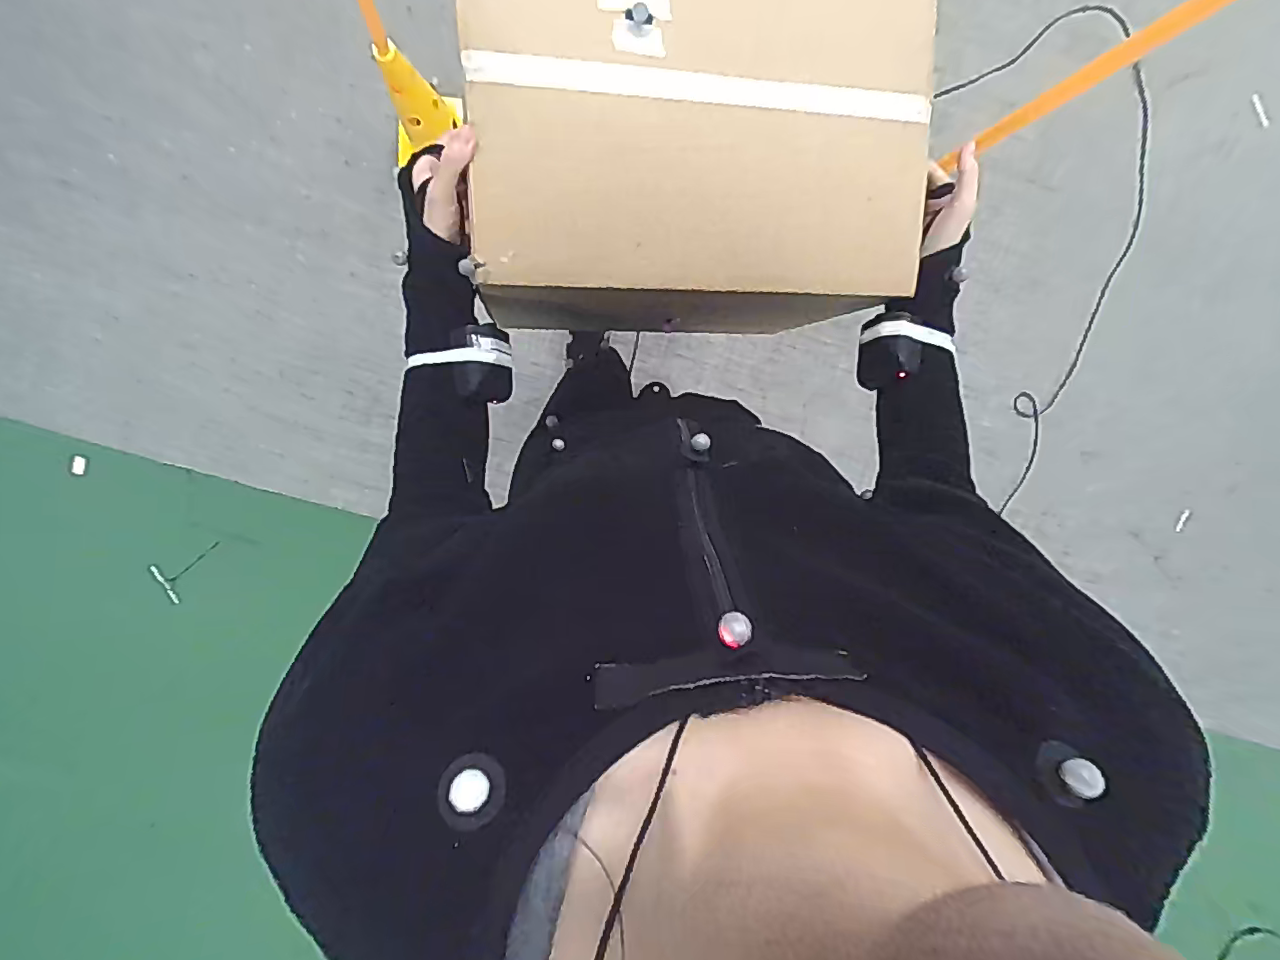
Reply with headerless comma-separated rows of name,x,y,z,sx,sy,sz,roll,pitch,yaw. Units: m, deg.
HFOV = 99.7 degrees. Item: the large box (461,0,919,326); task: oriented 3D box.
large box,0.031,-0.347,0.611,0.408,0.320,0.320,-2,98,-10
